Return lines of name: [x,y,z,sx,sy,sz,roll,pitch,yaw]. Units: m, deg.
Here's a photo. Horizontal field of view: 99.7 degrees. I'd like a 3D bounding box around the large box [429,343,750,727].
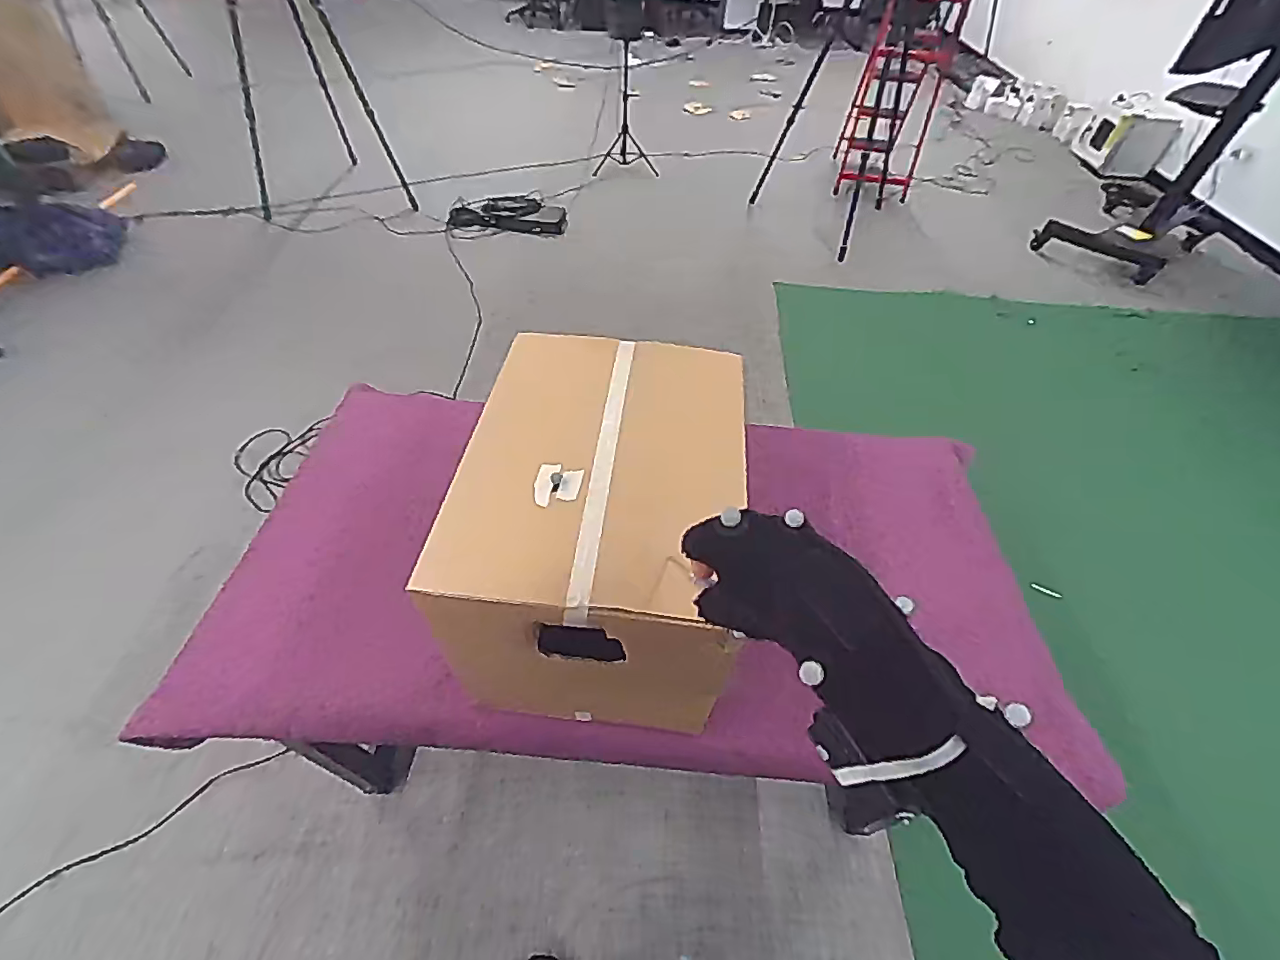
large box: [-0.041,0.071,0.742,0.320,0.320,0.408,6,50,2]
